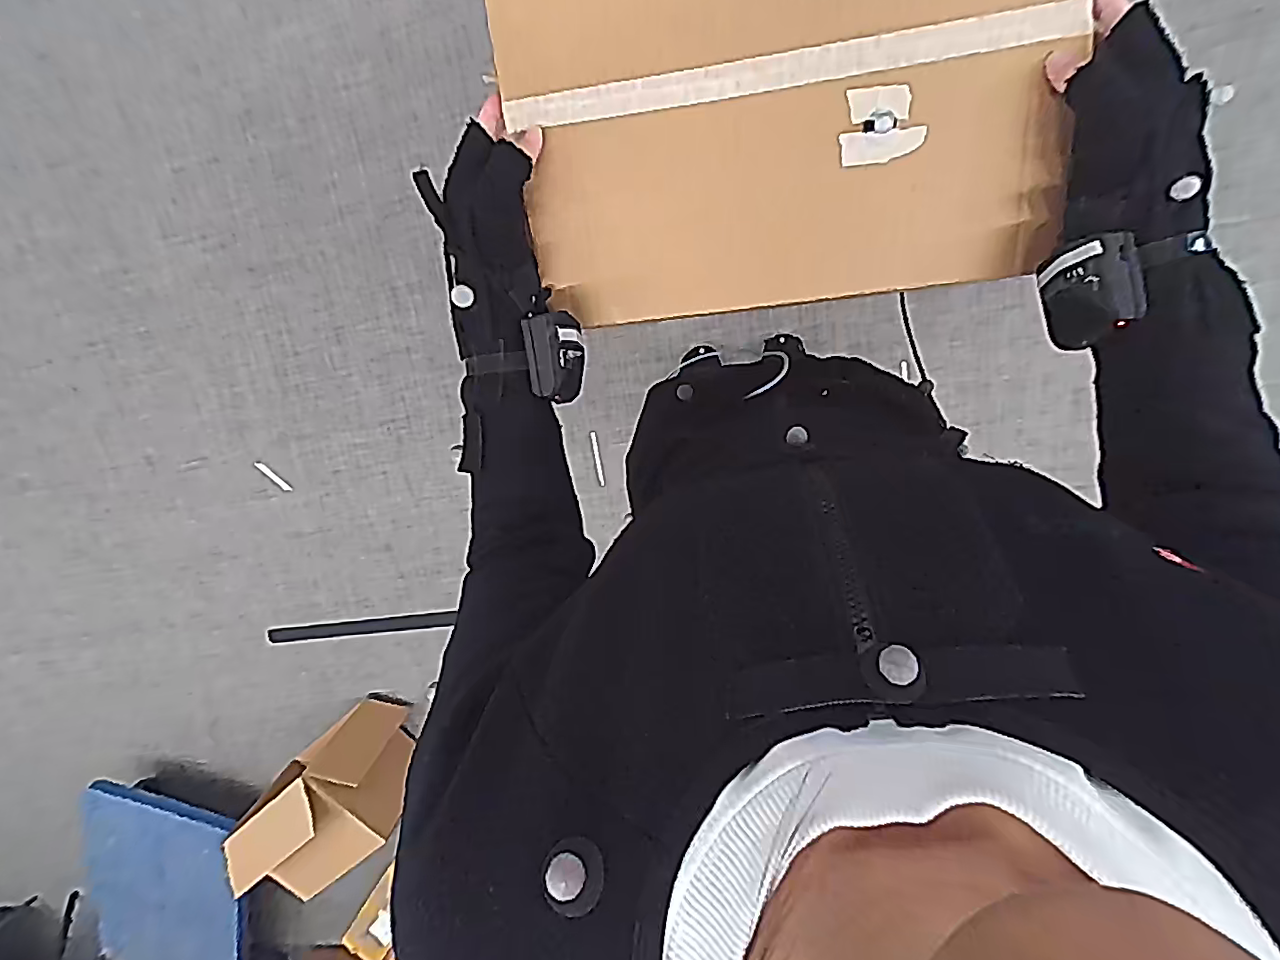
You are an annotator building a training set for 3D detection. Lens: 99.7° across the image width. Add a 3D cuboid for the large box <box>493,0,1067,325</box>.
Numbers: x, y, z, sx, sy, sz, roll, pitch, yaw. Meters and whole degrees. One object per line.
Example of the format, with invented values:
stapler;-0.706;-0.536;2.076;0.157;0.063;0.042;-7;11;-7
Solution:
large box;0.108;-0.341;0.537;0.408;0.320;0.320;-6;107;6
